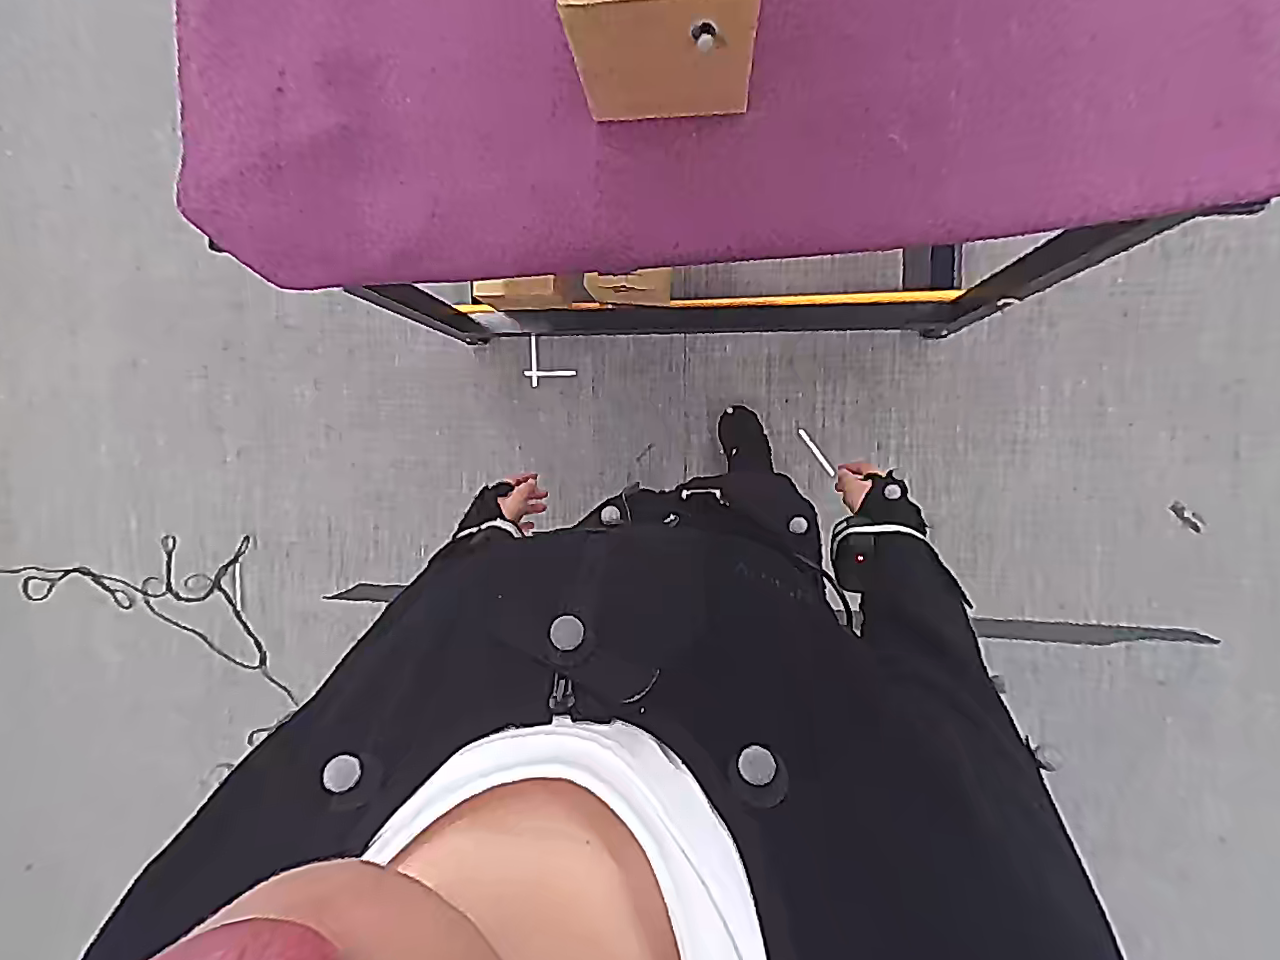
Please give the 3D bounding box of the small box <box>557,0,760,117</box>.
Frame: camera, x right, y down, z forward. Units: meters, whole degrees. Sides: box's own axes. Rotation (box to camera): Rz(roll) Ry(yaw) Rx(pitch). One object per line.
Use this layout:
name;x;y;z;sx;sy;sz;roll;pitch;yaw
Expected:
small box;0.024;-0.491;0.530;0.179;0.176;0.168;1;92;6

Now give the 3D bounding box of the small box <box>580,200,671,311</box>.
small box;-0.024;-0.472;1.161;0.168;0.176;0.179;6;94;5
